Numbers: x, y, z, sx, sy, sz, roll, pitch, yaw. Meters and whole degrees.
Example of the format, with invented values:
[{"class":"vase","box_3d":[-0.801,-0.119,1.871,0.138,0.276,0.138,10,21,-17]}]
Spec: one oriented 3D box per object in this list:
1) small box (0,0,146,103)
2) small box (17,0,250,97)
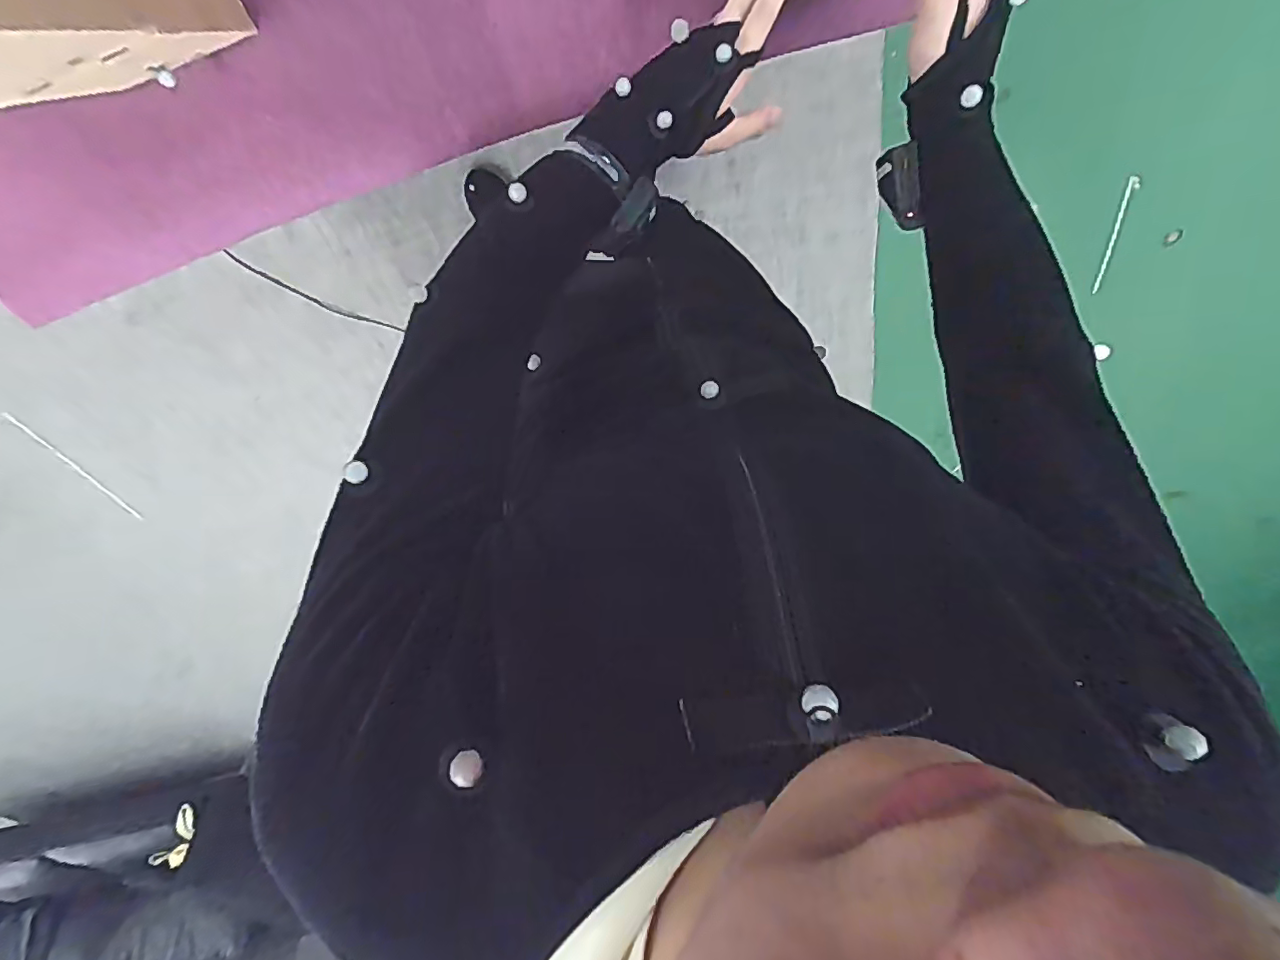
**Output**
[{"class":"small box","box_3d":[-0.467,-0.336,0.311,0.168,0.176,0.179,-15,129,8]},{"class":"small box","box_3d":[-0.479,-0.441,0.437,0.168,0.176,0.179,-15,131,8]}]
